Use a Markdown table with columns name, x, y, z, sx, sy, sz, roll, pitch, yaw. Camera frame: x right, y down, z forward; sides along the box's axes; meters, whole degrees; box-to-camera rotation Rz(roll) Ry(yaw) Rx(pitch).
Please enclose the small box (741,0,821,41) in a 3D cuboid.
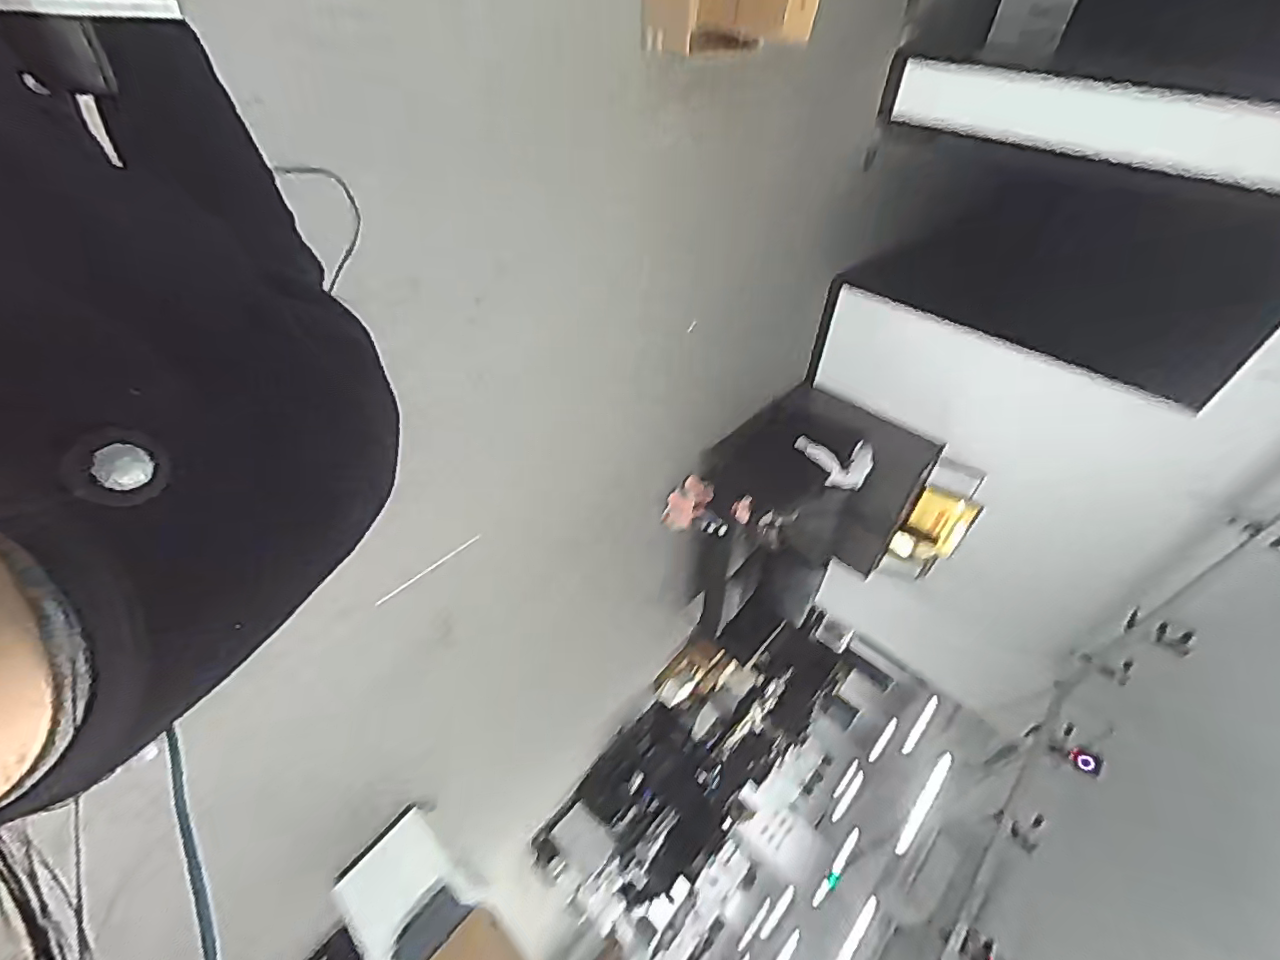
| name | x | y | z | sx | sy | sz | roll | pitch | yaw |
| --- | --- | --- | --- | --- | --- | --- | --- | --- | --- |
| small box | 0.422 | -1.433 | 1.600 | 0.168 | 0.176 | 0.179 | -26 | 140 | -40 |
